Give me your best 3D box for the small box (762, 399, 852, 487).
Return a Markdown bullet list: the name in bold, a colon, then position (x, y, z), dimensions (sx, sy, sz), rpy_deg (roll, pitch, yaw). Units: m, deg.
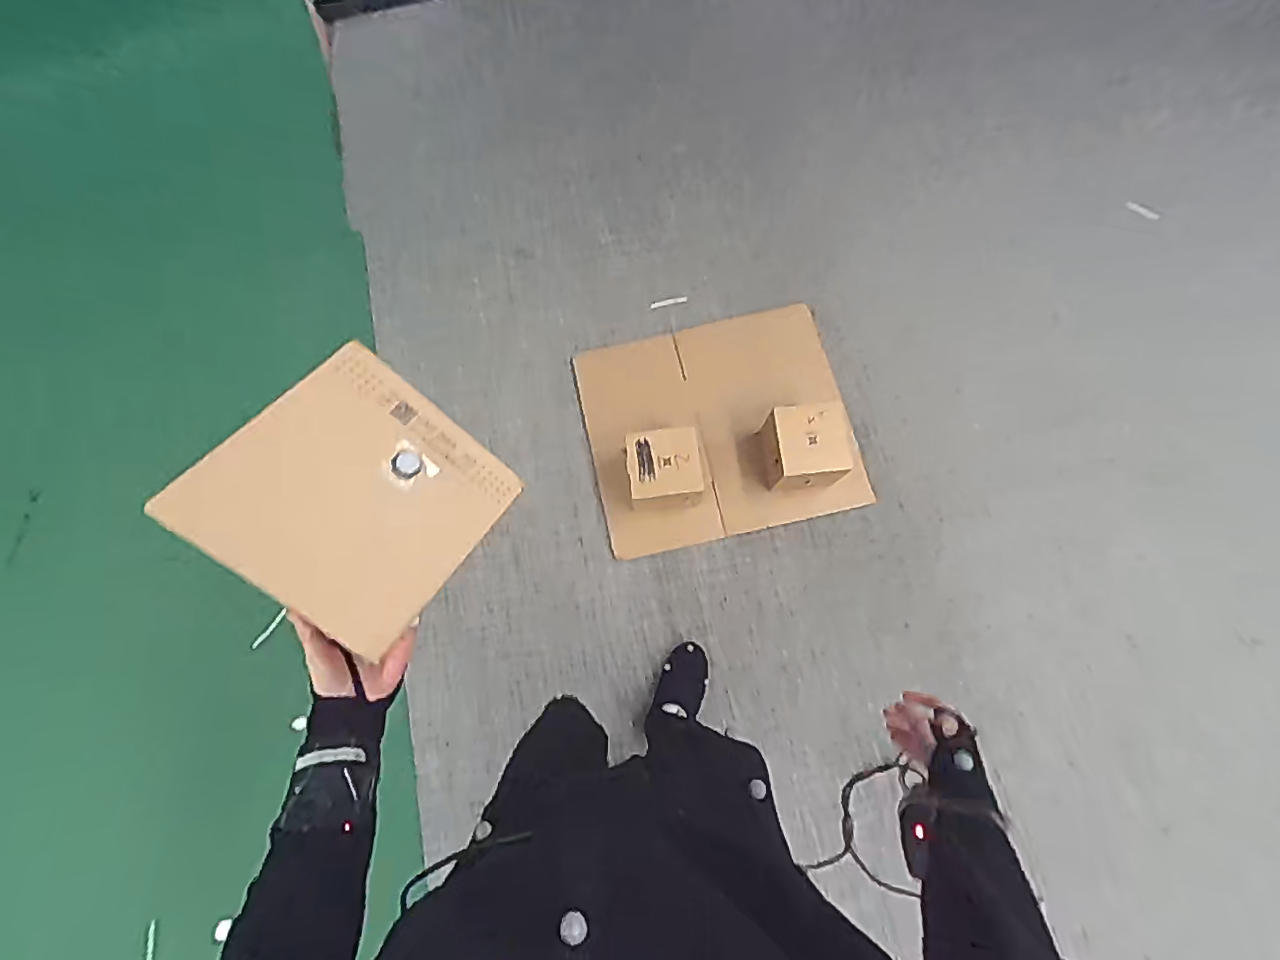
- **small box**: position (0.411, -0.085, 1.354), dimensions (0.168, 0.176, 0.179), rpy_deg (-5, 75, 0)
